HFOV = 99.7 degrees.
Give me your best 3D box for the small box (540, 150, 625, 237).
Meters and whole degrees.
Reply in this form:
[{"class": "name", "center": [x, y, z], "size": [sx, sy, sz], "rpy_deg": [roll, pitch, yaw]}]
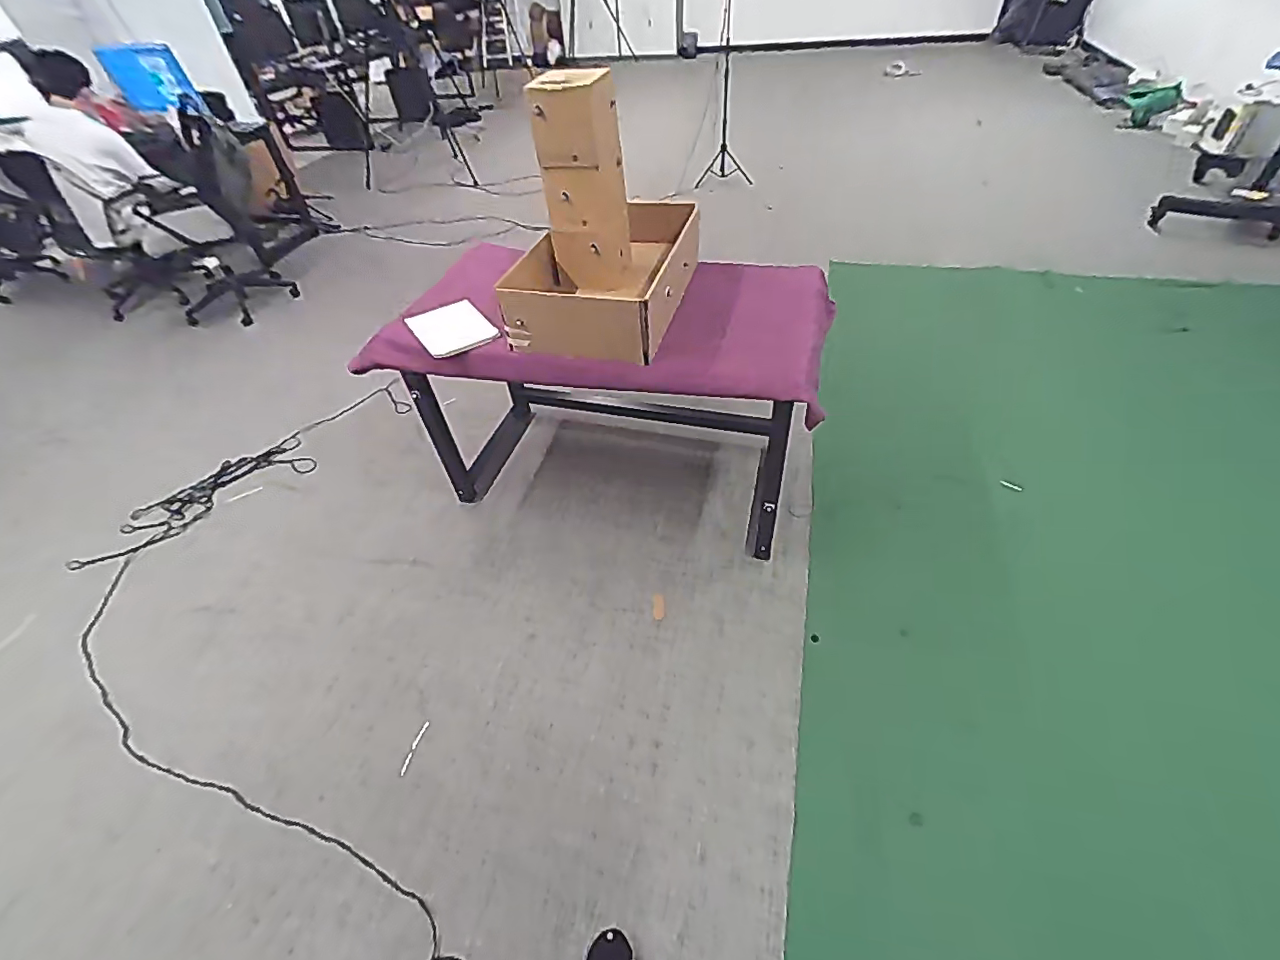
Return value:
[{"class": "small box", "center": [-0.148, -0.779, 1.473], "size": [0.168, 0.176, 0.179], "rpy_deg": [10, 49, 16]}]
